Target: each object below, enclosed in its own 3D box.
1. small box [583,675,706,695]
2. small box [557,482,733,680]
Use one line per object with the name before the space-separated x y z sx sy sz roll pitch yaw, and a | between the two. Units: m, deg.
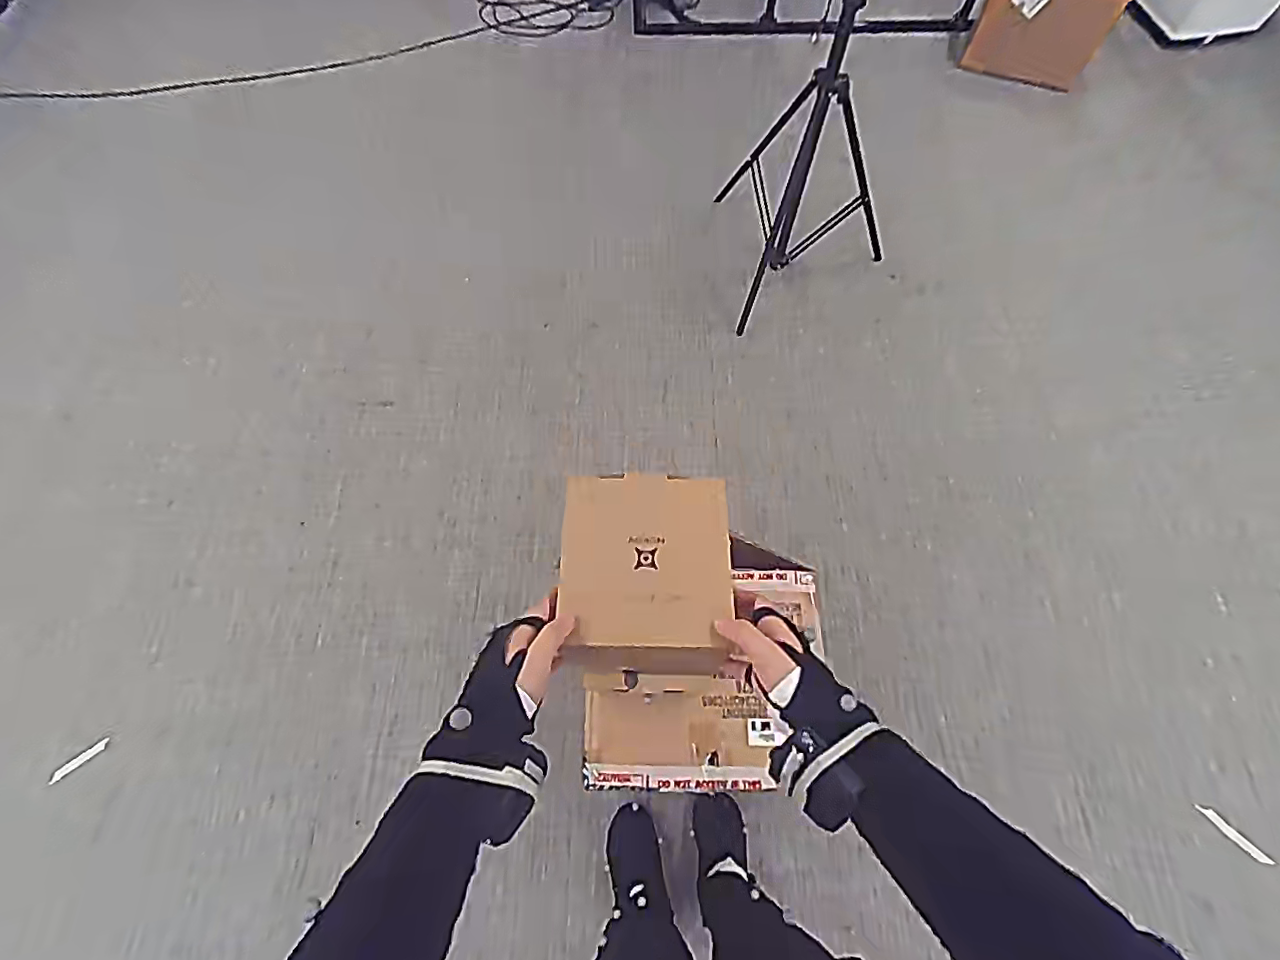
small box | 0.010 0.227 0.814 0.168 0.176 0.179 0 68 3
small box | 0.004 0.117 0.605 0.168 0.176 0.179 0 62 -1
